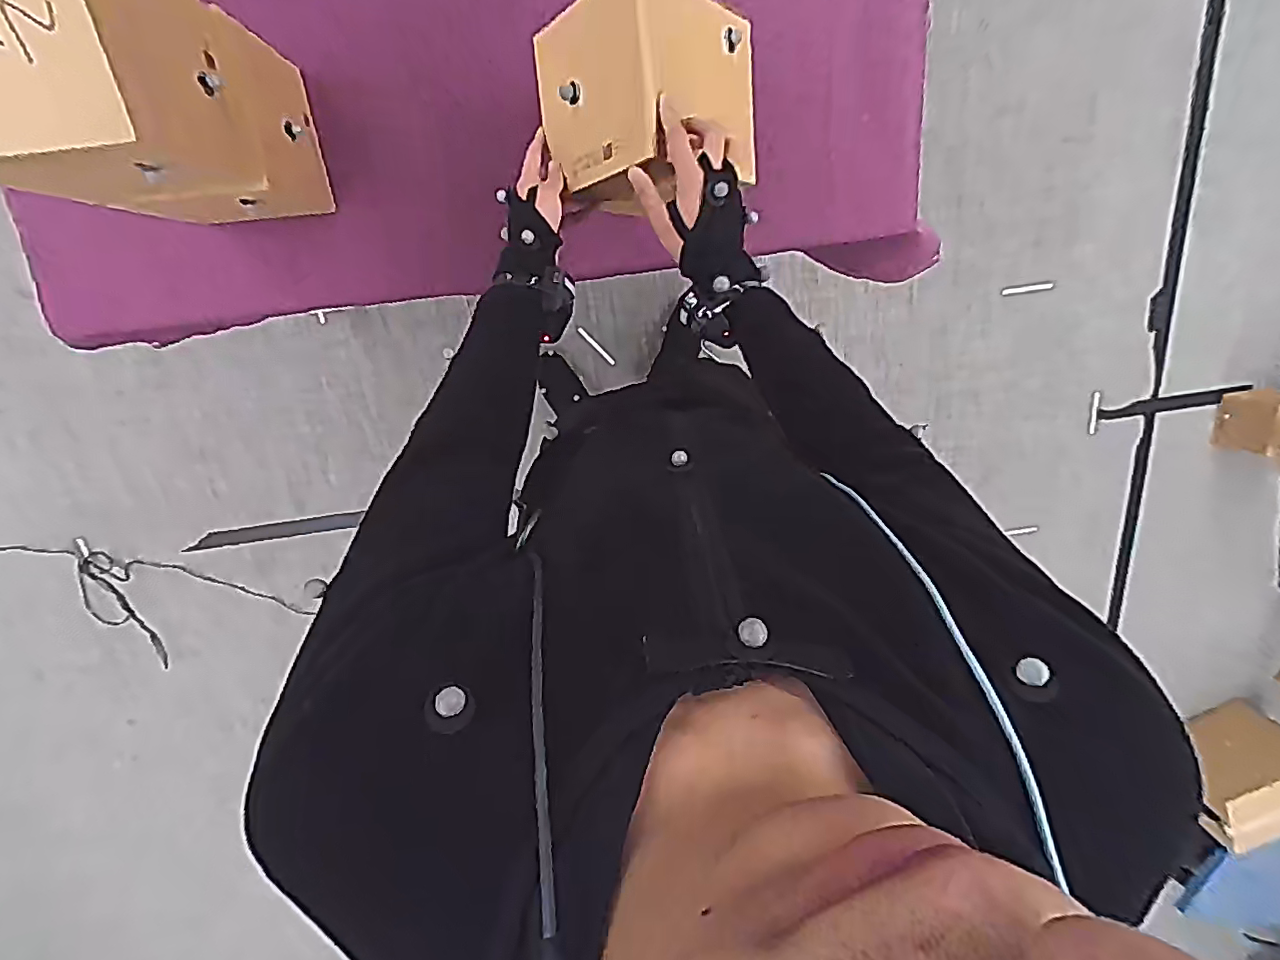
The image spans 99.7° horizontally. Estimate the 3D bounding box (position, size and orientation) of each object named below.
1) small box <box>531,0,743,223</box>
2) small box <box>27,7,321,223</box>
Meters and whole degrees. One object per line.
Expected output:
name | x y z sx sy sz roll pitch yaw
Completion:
small box | 0.003 -0.403 0.604 0.179 0.168 0.176 -15 106 -41
small box | -0.498 -0.399 0.619 0.179 0.176 0.168 -7 109 -3
